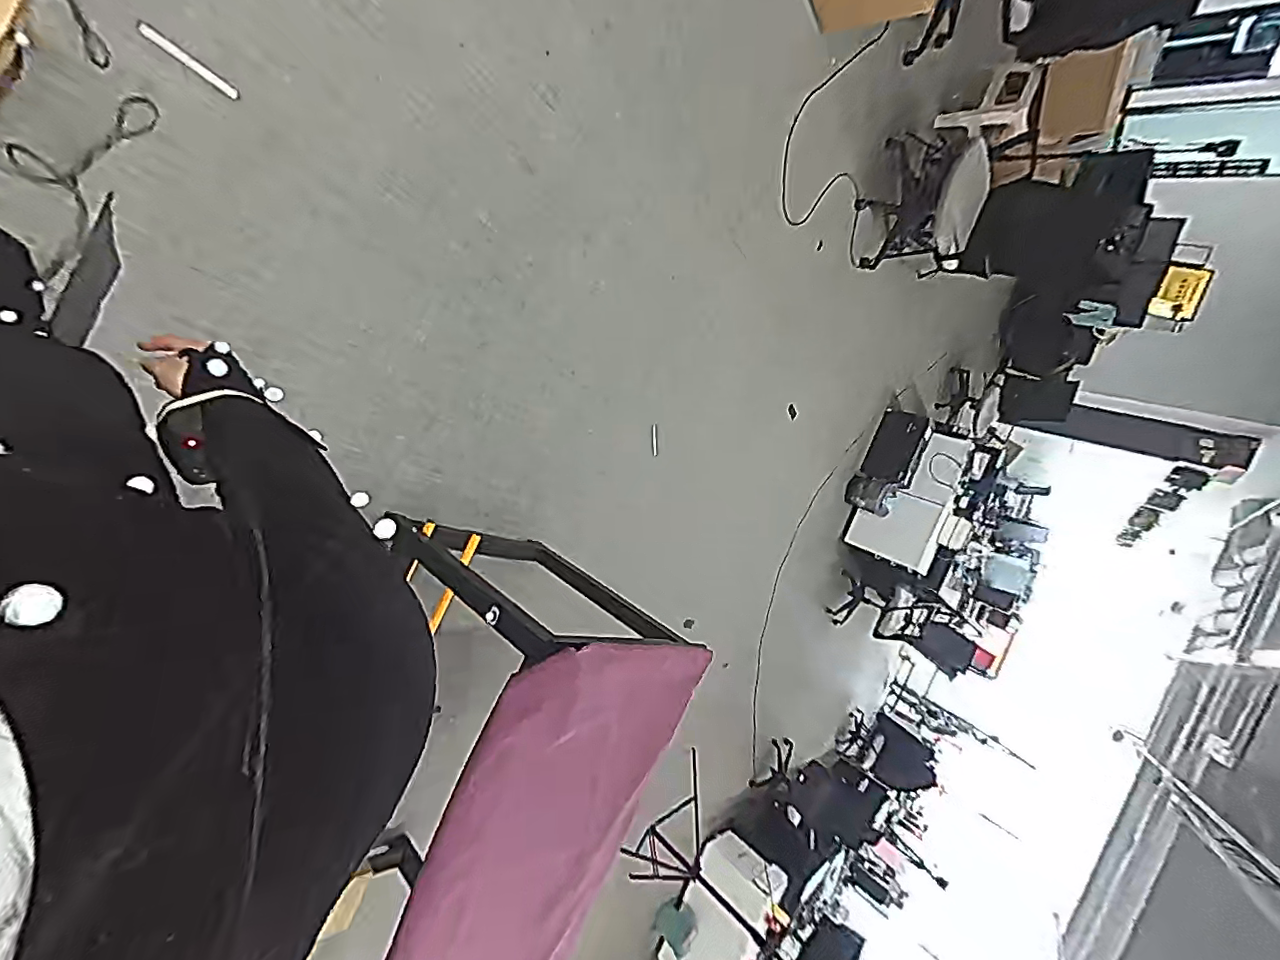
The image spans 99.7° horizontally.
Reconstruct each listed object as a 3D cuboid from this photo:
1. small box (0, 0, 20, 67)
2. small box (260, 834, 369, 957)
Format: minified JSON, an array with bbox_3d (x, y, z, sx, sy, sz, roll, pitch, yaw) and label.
[{"bbox_3d":[-0.924,-0.591,0.669,0.168,0.176,0.179,27,88,-50],"label":"small box"},{"bbox_3d":[-0.869,1.090,1.437,0.179,0.176,0.168,26,88,-53],"label":"small box"}]
